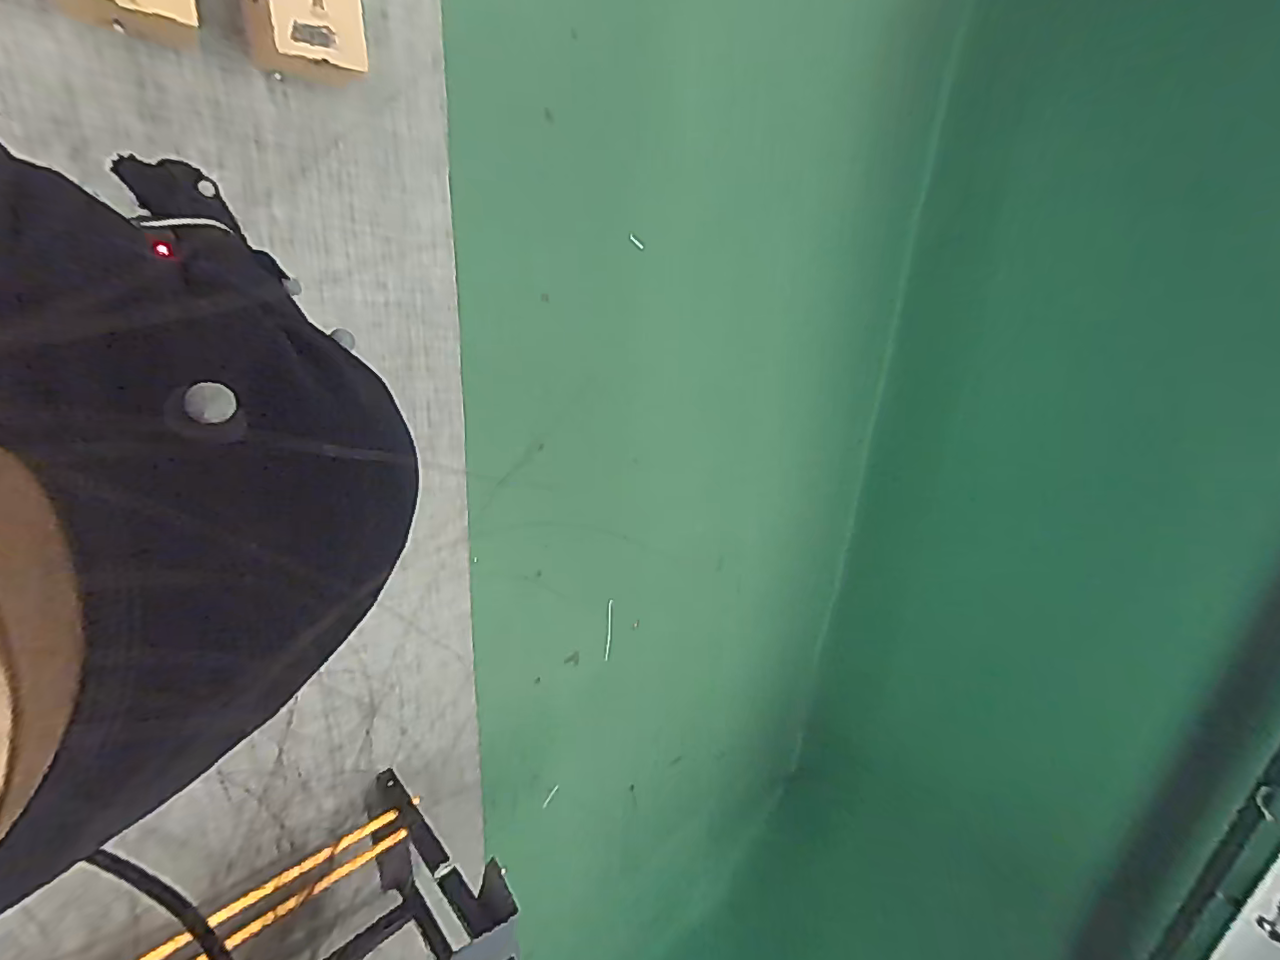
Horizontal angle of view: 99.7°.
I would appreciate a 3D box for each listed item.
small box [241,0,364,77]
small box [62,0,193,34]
[{"bbox_3d":[-0.659,-0.916,1.050,0.168,0.176,0.179,-17,120,-42],"label":"small box"},{"bbox_3d":[-0.849,-0.864,0.866,0.168,0.176,0.179,-14,118,-44],"label":"small box"}]
